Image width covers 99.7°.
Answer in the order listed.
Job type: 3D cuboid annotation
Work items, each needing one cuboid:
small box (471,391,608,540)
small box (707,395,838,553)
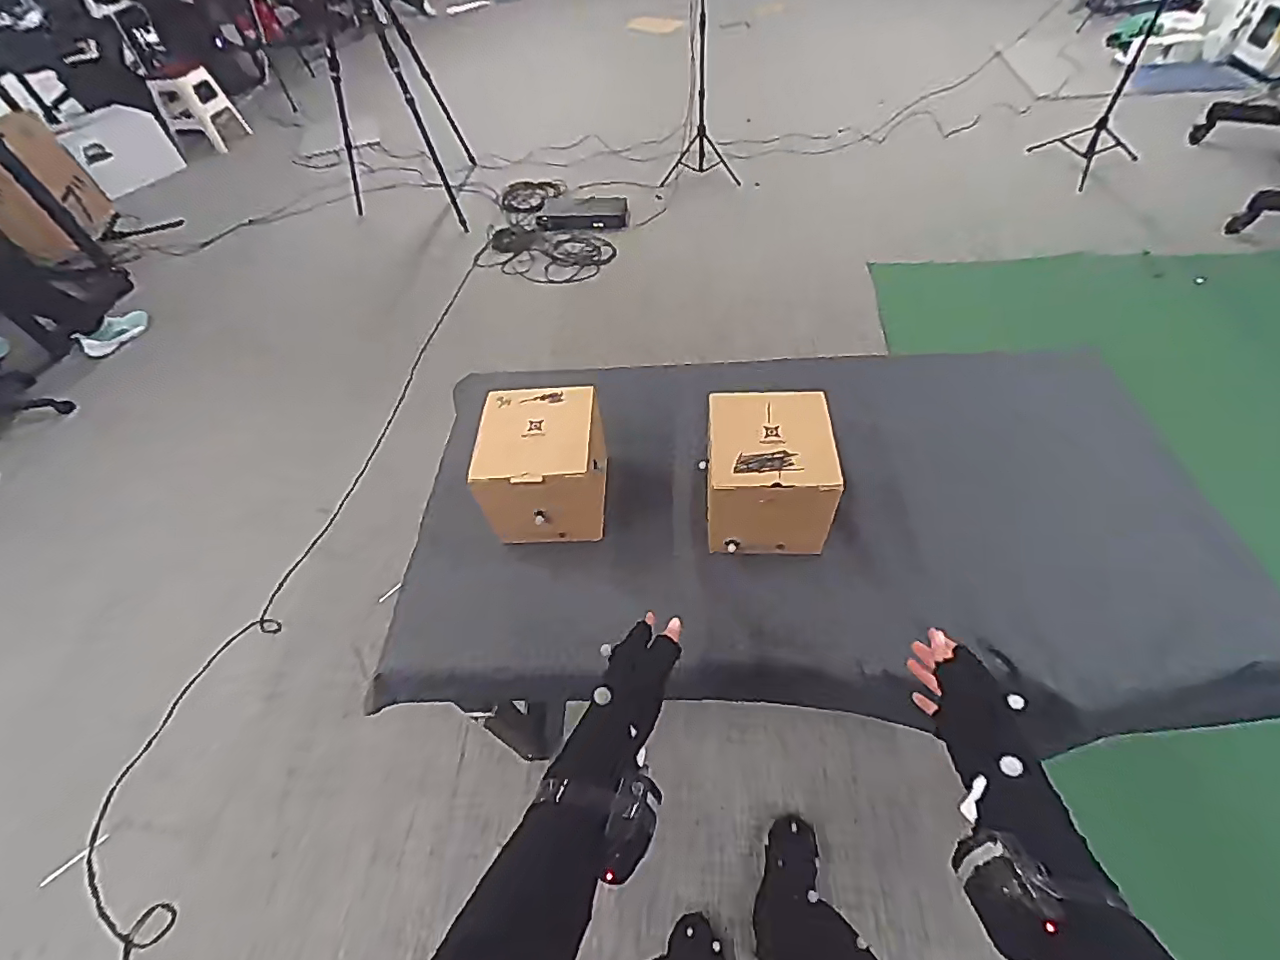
[{"bbox_3d":[-0.144,-0.015,0.848,0.168,0.176,0.179,-2,53,4],"label":"small box"},{"bbox_3d":[0.184,-0.004,0.803,0.168,0.176,0.179,0,51,6],"label":"small box"}]
